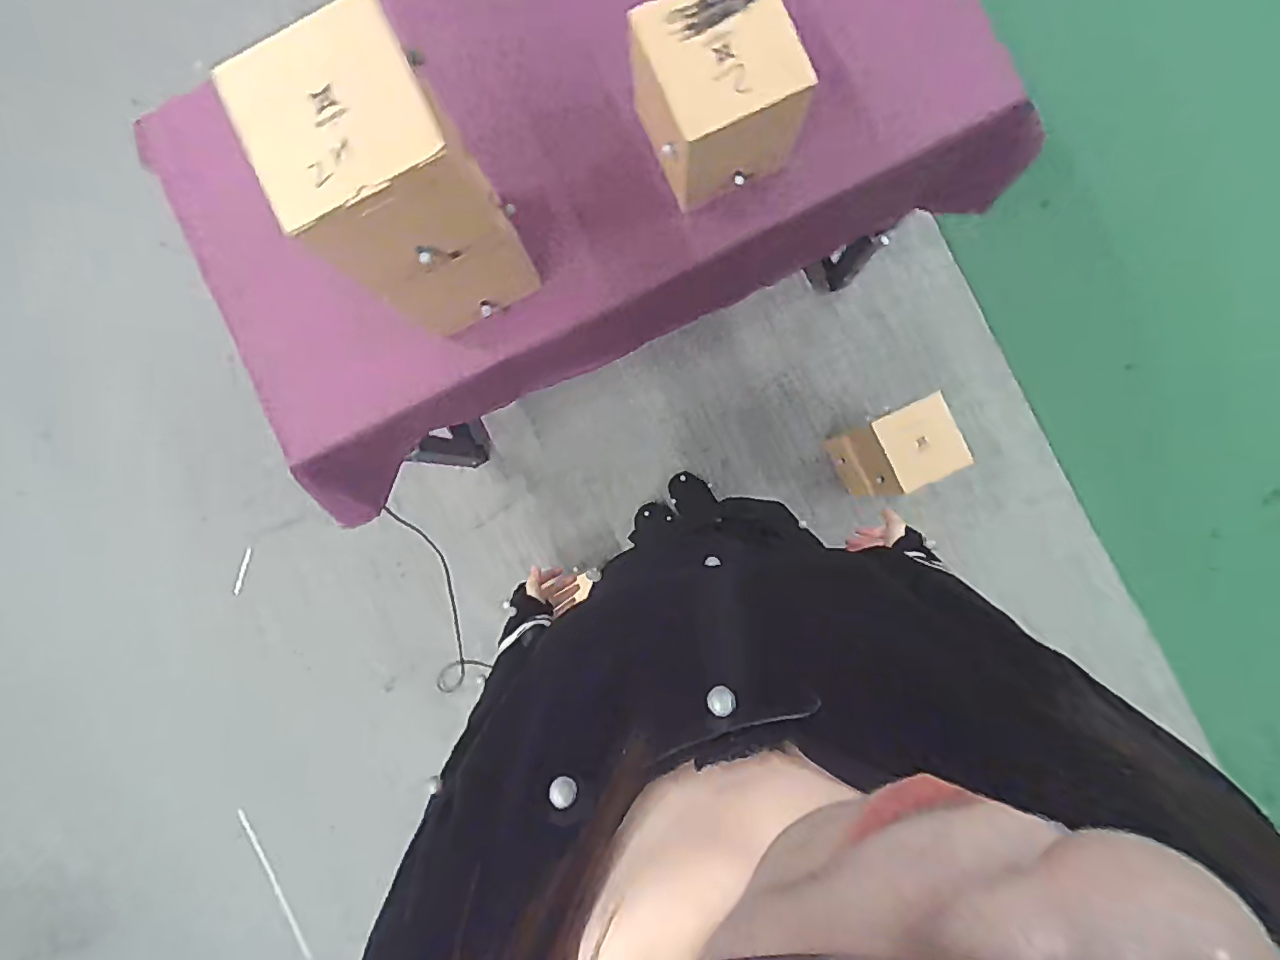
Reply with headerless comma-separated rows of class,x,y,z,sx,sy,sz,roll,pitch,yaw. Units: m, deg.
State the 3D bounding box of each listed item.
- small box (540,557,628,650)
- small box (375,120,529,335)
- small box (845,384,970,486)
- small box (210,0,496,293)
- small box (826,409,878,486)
small box,-0.143,0.323,1.450,0.168,0.176,0.179,-25,87,3
small box,-0.267,-0.324,0.730,0.179,0.176,0.168,-28,87,2
small box,0.606,-0.097,1.246,0.168,0.176,0.179,-26,88,1
small box,-0.279,-0.331,0.565,0.168,0.176,0.179,-26,88,3
small box,0.608,-0.091,1.409,0.179,0.176,0.168,-28,88,2
